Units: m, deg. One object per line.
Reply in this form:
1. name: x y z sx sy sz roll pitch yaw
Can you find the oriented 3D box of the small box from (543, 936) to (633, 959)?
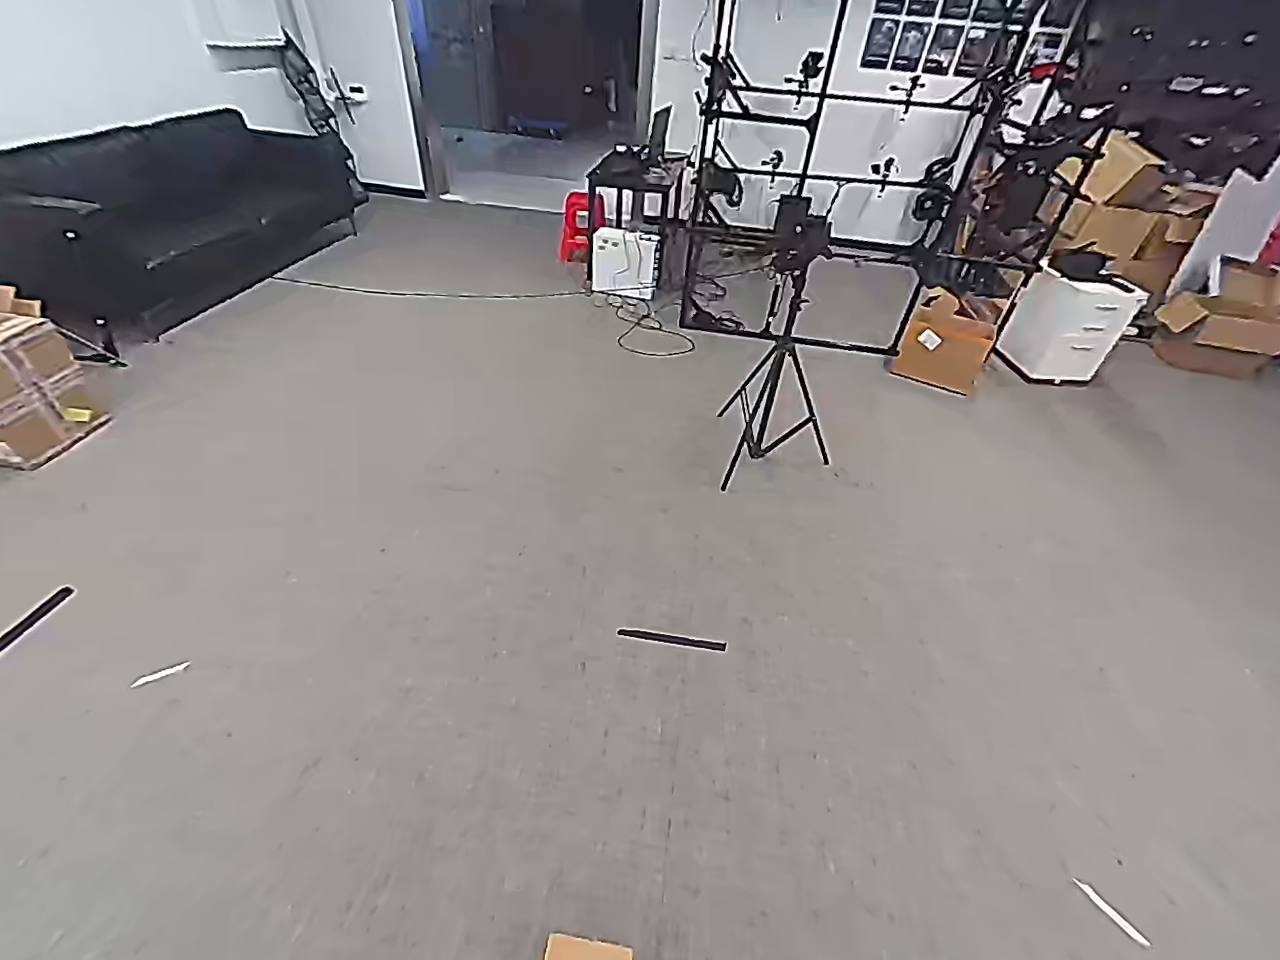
1. small box: -0.116 1.035 1.064 0.179 0.176 0.168 7 39 4
